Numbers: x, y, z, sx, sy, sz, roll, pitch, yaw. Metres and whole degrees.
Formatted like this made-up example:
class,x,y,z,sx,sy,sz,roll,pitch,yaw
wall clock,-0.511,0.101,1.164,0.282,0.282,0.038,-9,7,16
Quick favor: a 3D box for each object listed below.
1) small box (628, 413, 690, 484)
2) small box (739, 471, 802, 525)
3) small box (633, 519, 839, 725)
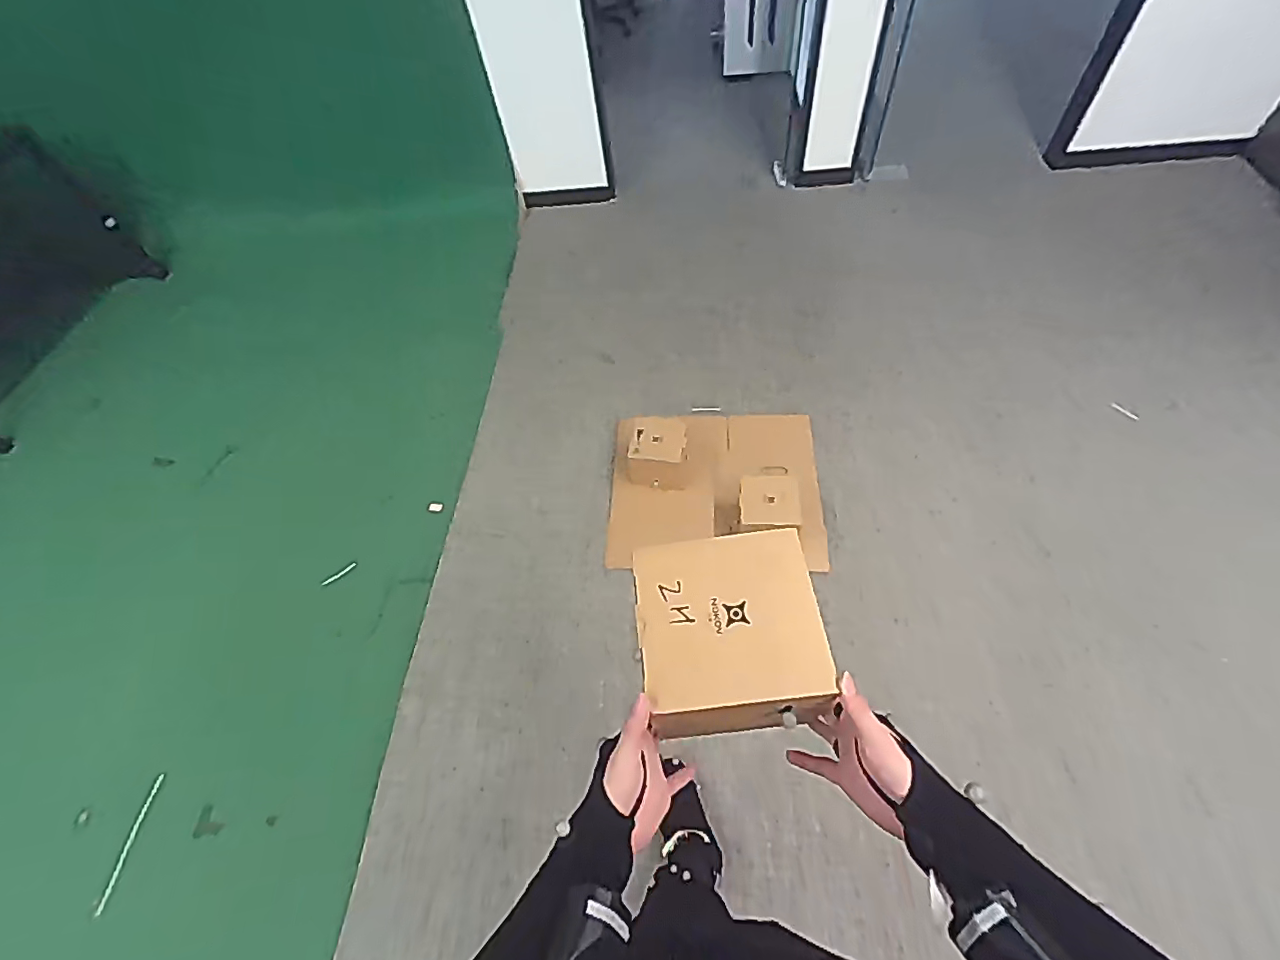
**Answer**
class,x,y,z,sx,sy,sz,roll,pitch,yaw
small box,0.070,-0.101,1.819,0.179,0.176,0.168,7,59,11
small box,0.395,0.085,1.666,0.179,0.176,0.168,0,59,8
small box,0.092,0.161,0.588,0.179,0.176,0.168,-8,57,2
